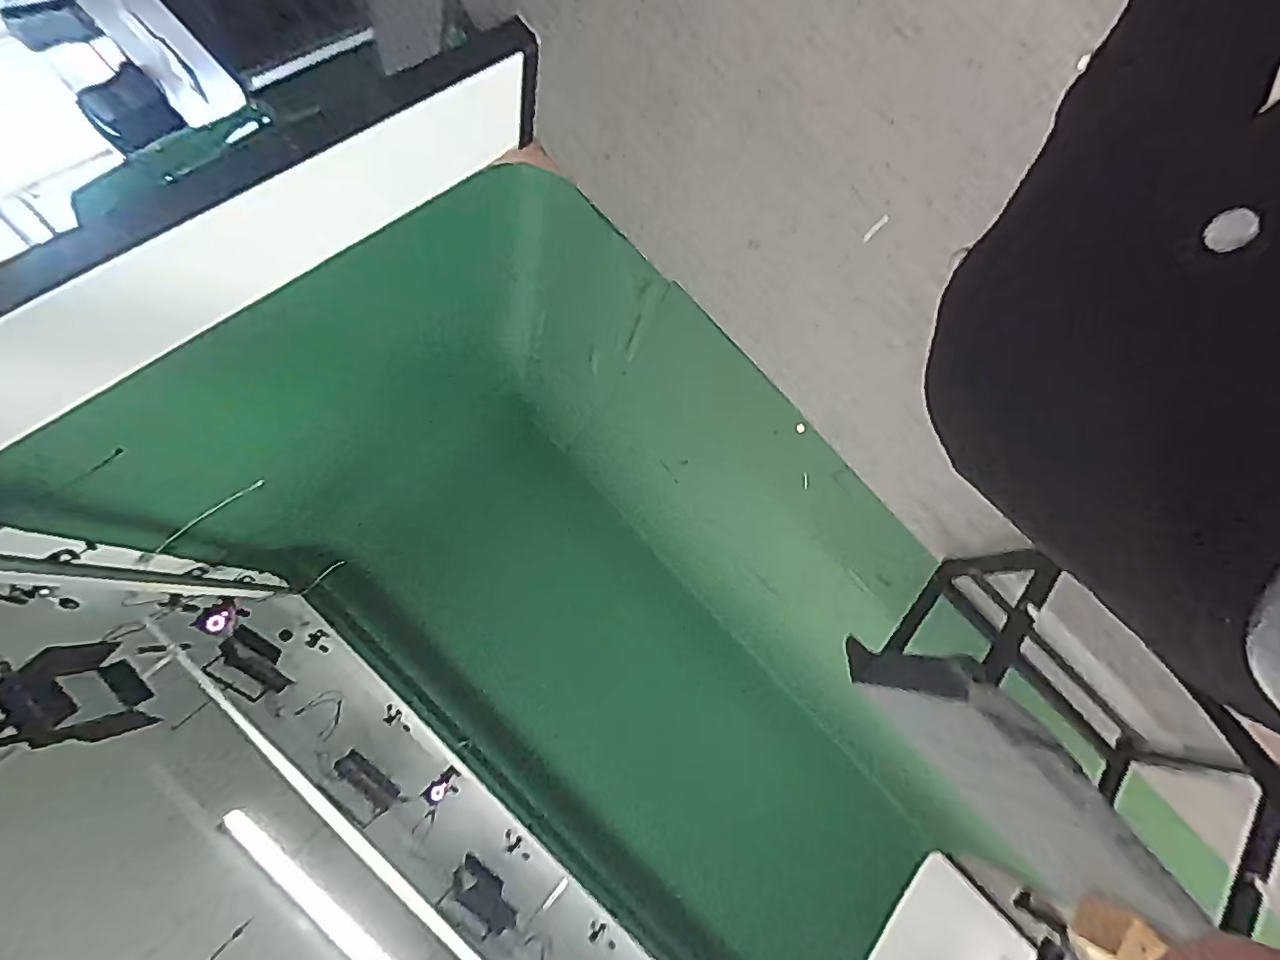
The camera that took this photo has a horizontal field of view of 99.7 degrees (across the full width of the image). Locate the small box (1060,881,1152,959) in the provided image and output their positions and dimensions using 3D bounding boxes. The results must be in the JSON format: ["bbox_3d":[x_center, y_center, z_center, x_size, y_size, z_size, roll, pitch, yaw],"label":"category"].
[{"bbox_3d":[1.659,1.581,1.917,0.168,0.176,0.179,47,159,1],"label":"small box"}]
